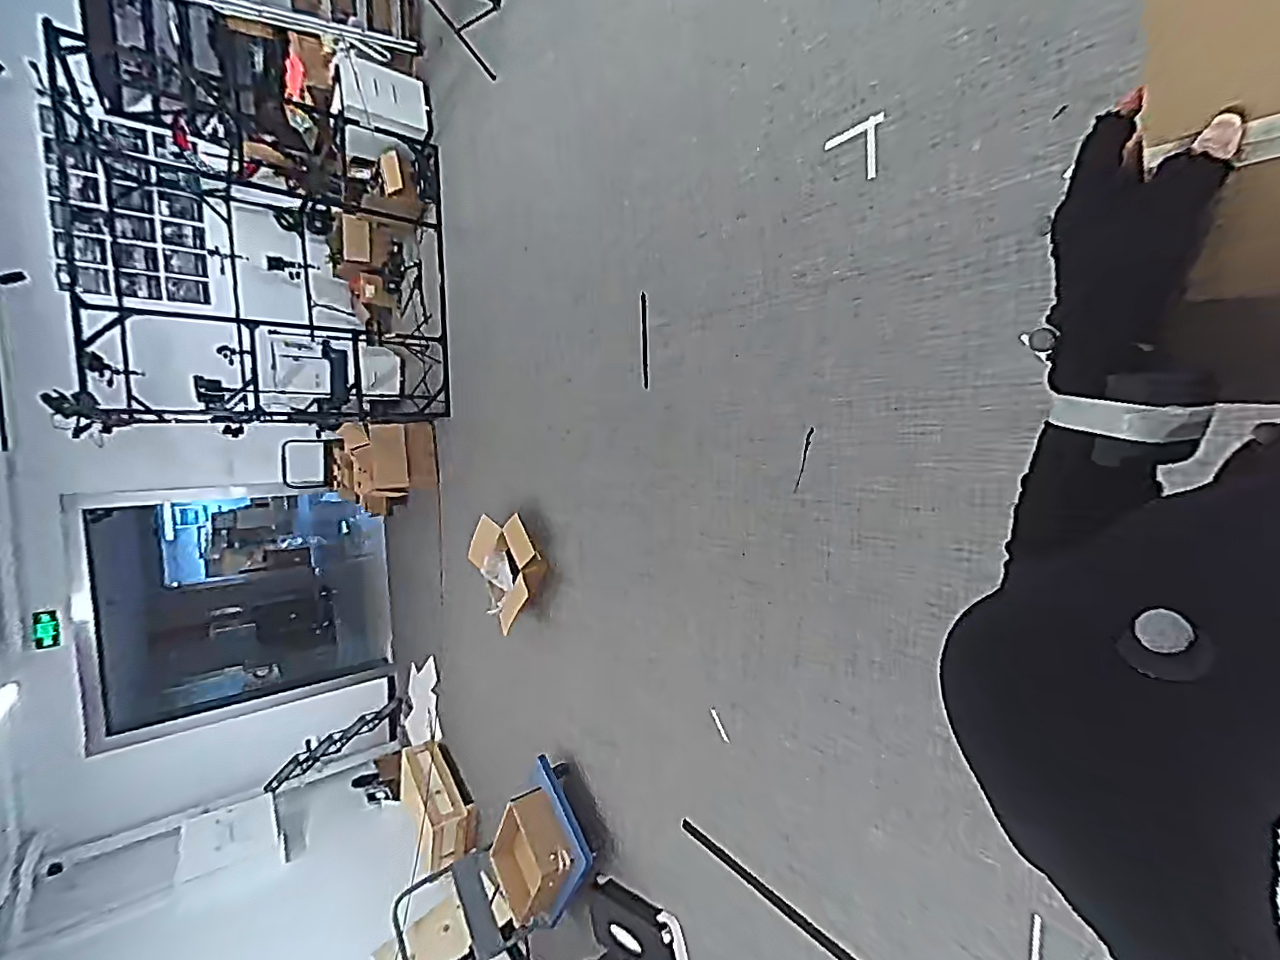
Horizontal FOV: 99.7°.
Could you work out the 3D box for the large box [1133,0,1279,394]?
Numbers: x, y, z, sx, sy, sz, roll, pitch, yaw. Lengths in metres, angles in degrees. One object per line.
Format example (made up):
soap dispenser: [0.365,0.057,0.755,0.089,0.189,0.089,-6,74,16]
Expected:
large box: [0.520,-0.244,0.226,0.408,0.320,0.320,15,137,55]
